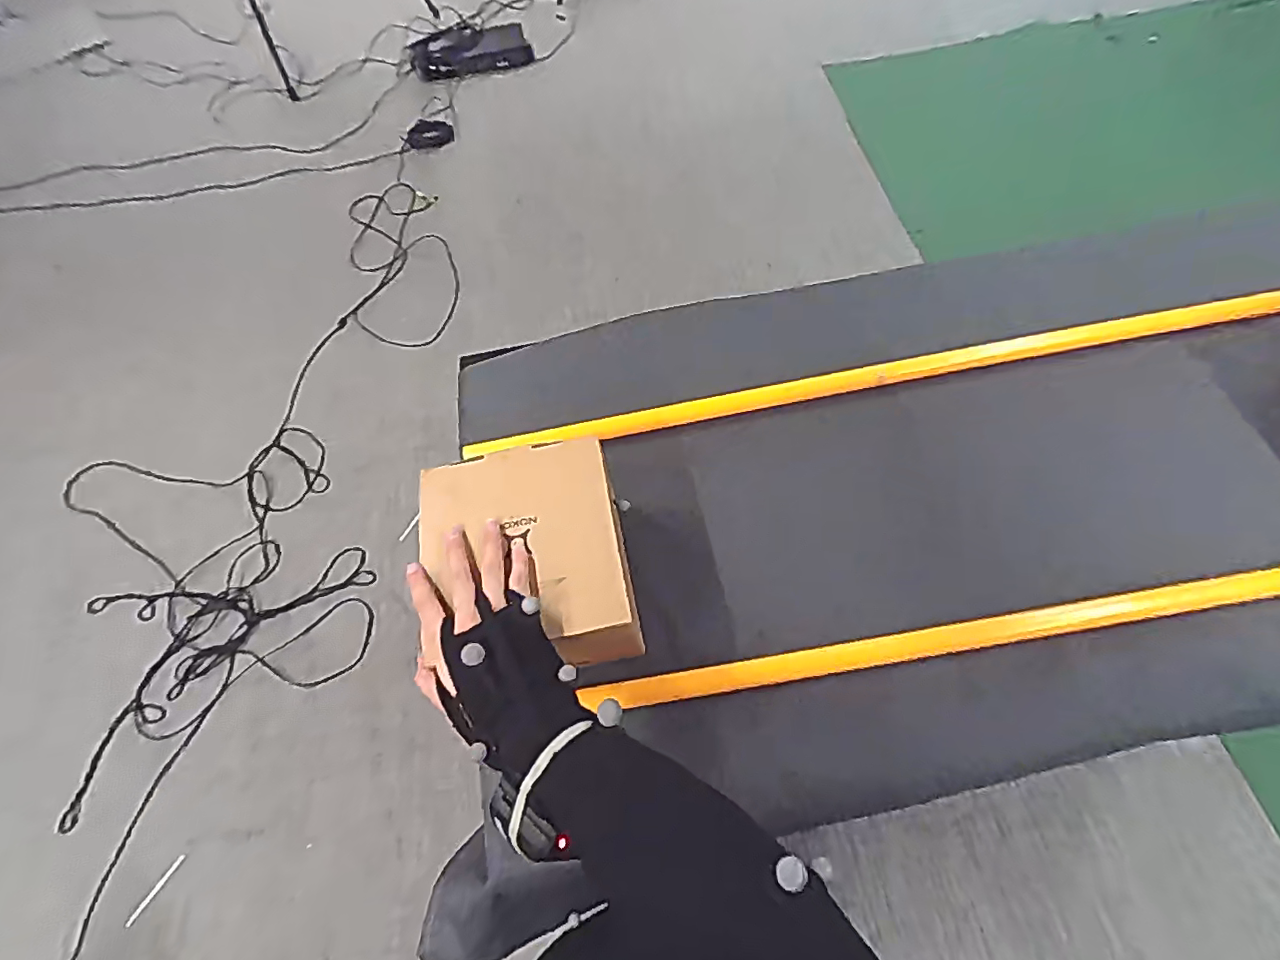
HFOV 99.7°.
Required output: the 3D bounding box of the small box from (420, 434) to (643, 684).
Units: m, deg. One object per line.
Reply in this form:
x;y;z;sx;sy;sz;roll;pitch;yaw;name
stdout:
-0.096;0.084;0.521;0.168;0.176;0.179;-13;64;-1;small box
